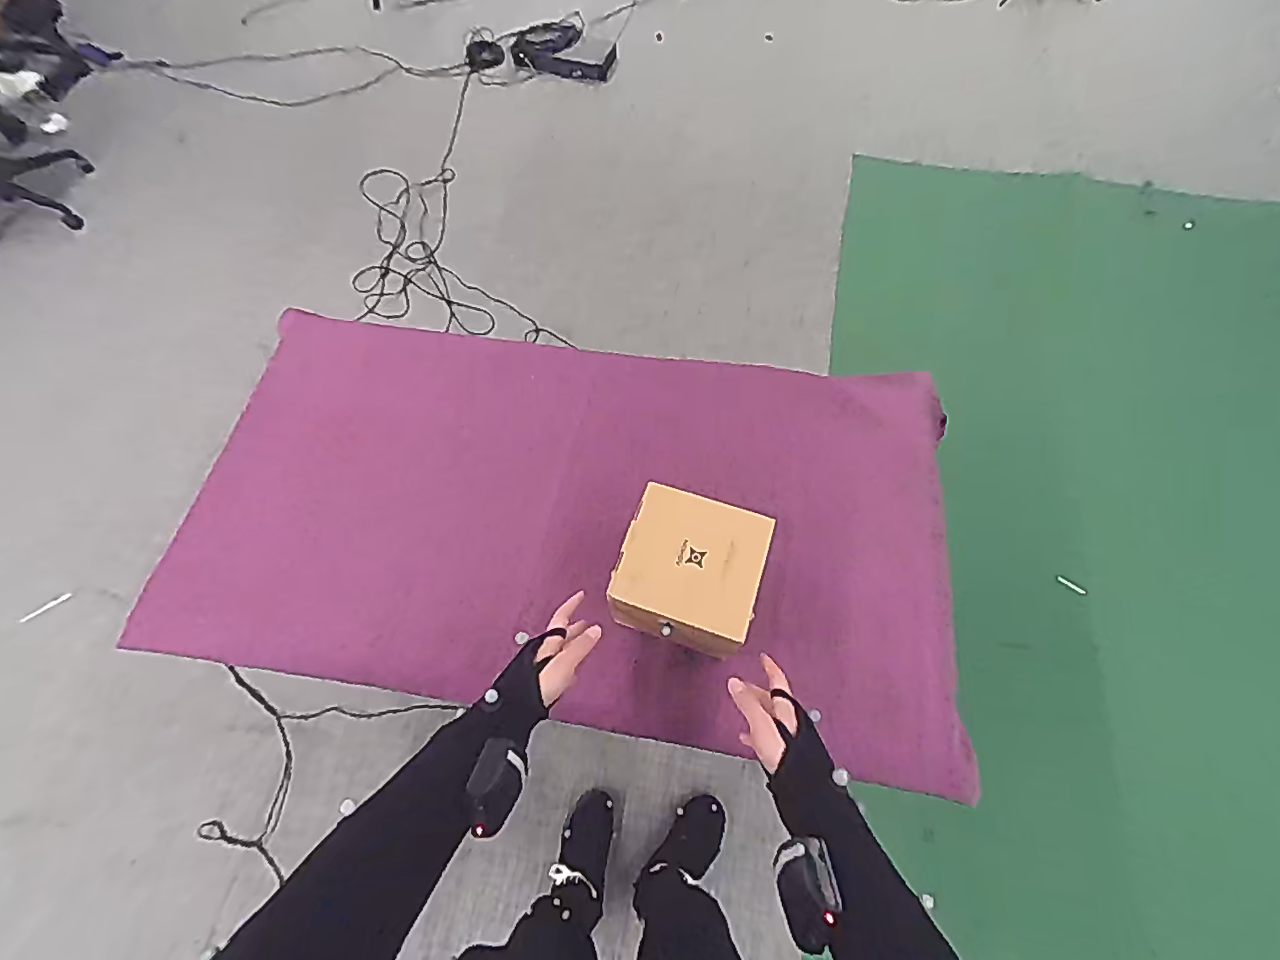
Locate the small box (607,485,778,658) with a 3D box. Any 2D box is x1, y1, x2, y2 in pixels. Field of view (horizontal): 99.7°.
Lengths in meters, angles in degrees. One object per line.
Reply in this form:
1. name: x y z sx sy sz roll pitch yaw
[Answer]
1. small box: 0.069 0.133 0.743 0.179 0.176 0.168 18 67 9
